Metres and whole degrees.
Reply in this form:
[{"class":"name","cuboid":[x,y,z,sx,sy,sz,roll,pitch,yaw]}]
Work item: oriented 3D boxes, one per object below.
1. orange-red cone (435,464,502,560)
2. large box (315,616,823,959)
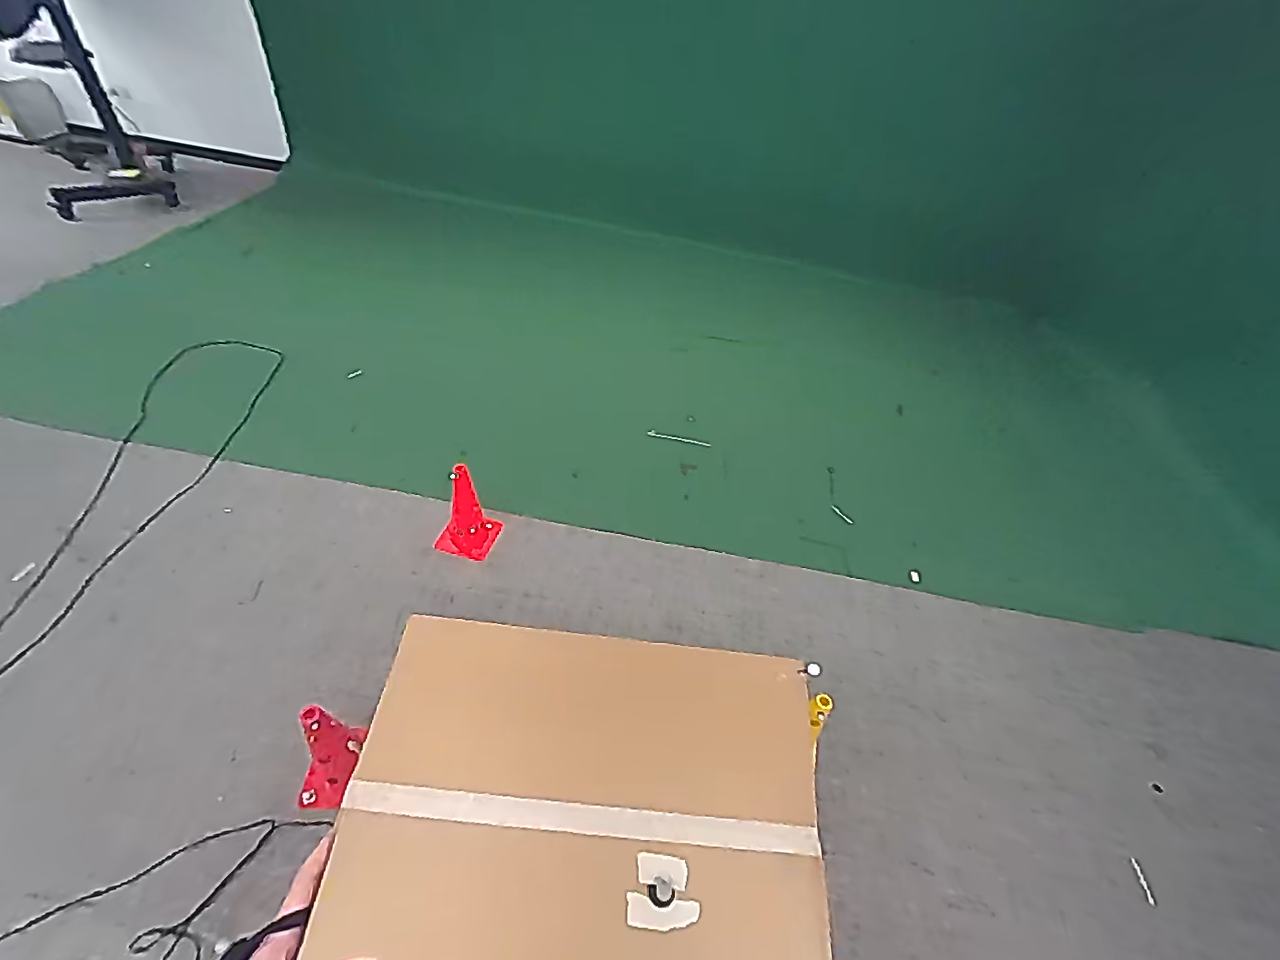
[{"class":"orange-red cone","cuboid":[-0.624,0.086,1.919,0.199,0.360,0.198,15,43,7]},{"class":"large box","cuboid":[-0.057,0.369,0.603,0.408,0.320,0.320,7,58,-2]}]
